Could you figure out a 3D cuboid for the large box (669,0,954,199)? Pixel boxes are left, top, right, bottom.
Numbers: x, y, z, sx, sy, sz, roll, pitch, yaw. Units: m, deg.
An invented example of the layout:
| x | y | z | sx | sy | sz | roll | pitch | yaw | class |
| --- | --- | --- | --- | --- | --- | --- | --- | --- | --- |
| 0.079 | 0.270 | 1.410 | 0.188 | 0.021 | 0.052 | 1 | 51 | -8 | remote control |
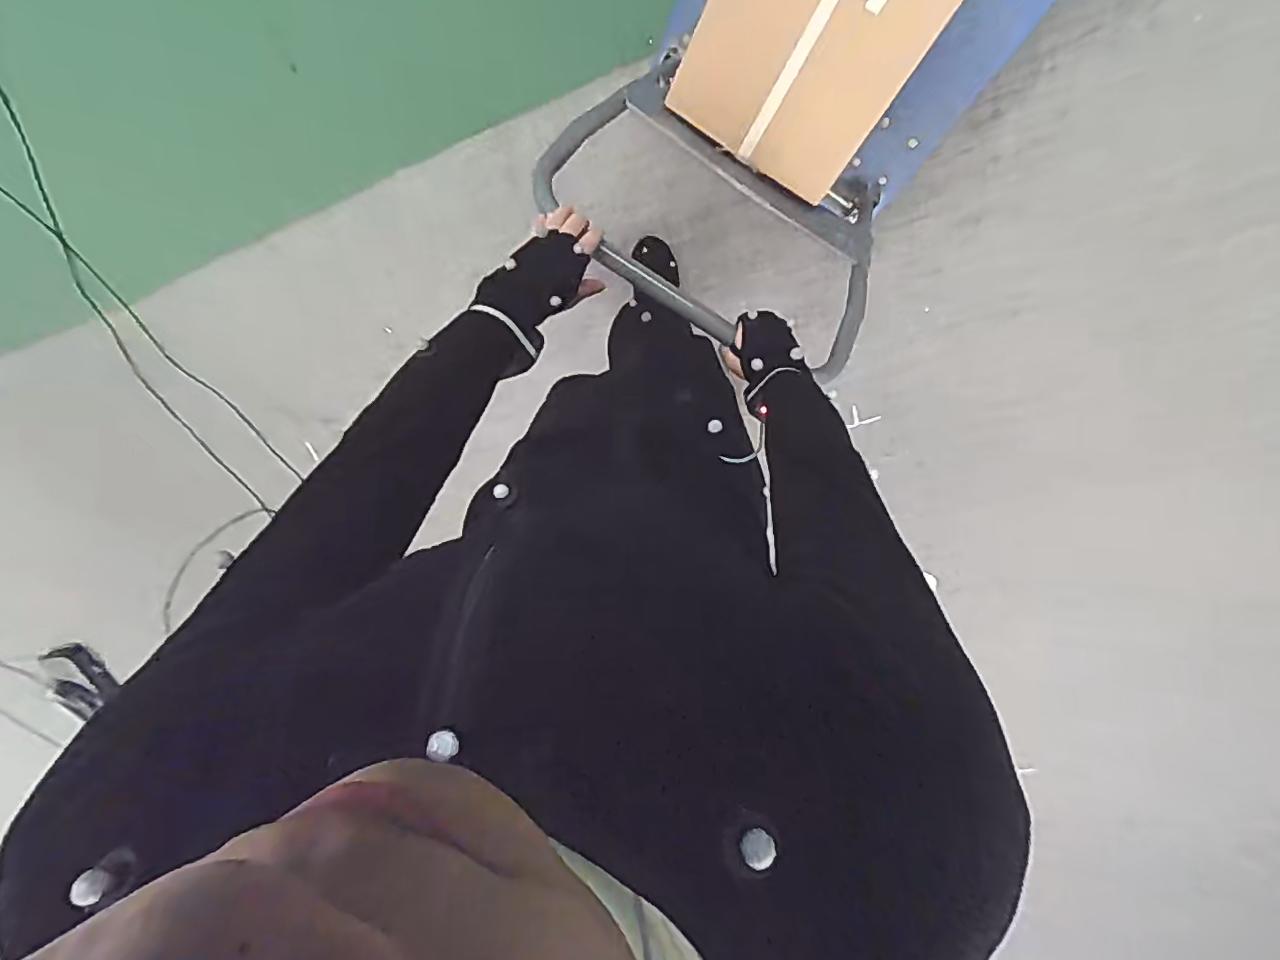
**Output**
| x | y | z | sx | sy | sz | roll | pitch | yaw | class |
| --- | --- | --- | --- | --- | --- | --- | --- | --- | --- |
| 0.302 | -0.771 | 0.899 | 0.320 | 0.320 | 0.408 | 31 | 134 | -6 | large box |
